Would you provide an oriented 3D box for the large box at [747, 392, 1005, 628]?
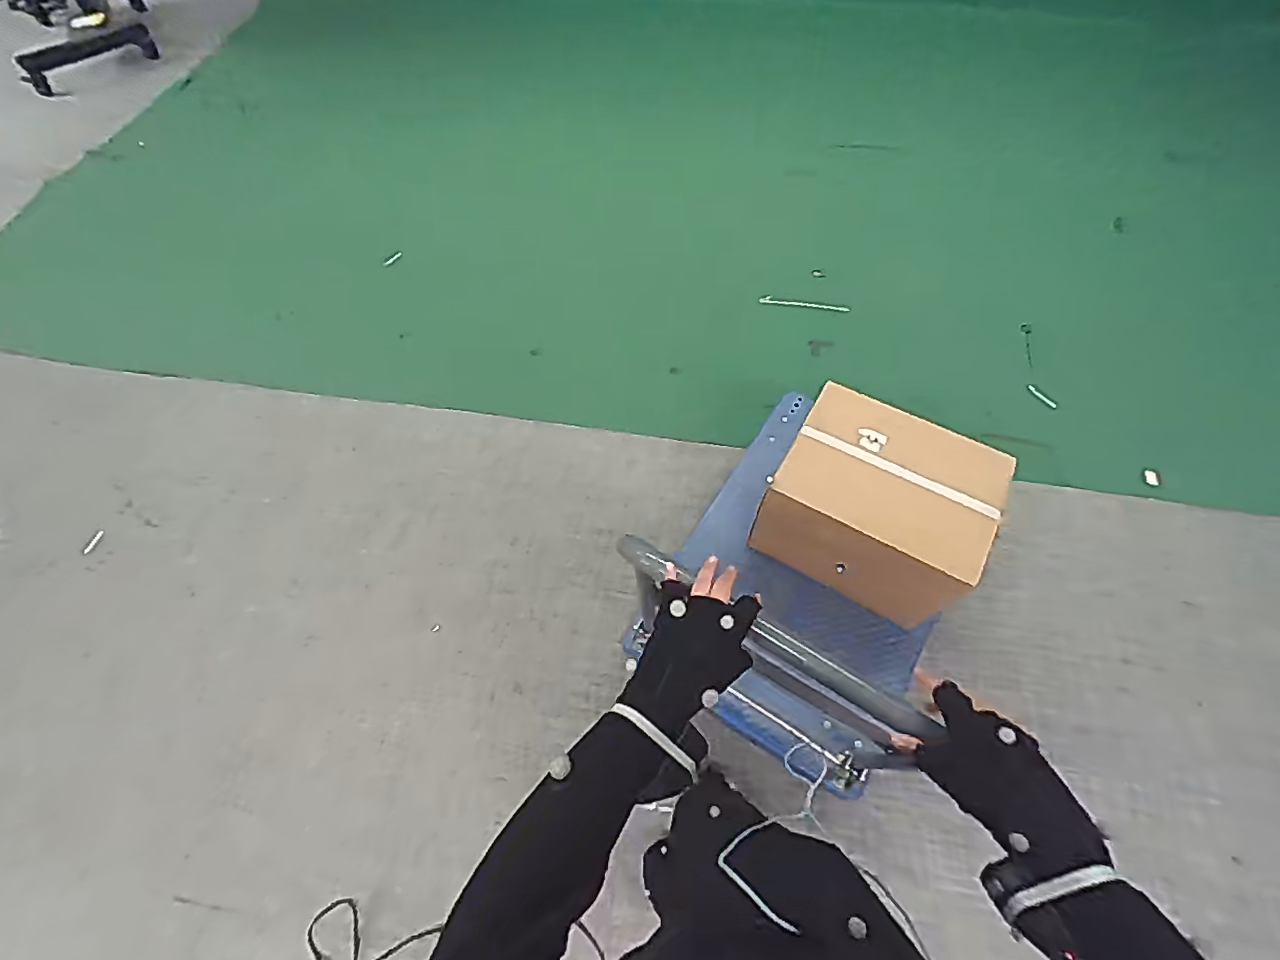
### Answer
[{"bbox_3d":[0.504,0.074,1.218,0.408,0.320,0.320,27,64,17],"label":"large box"}]
